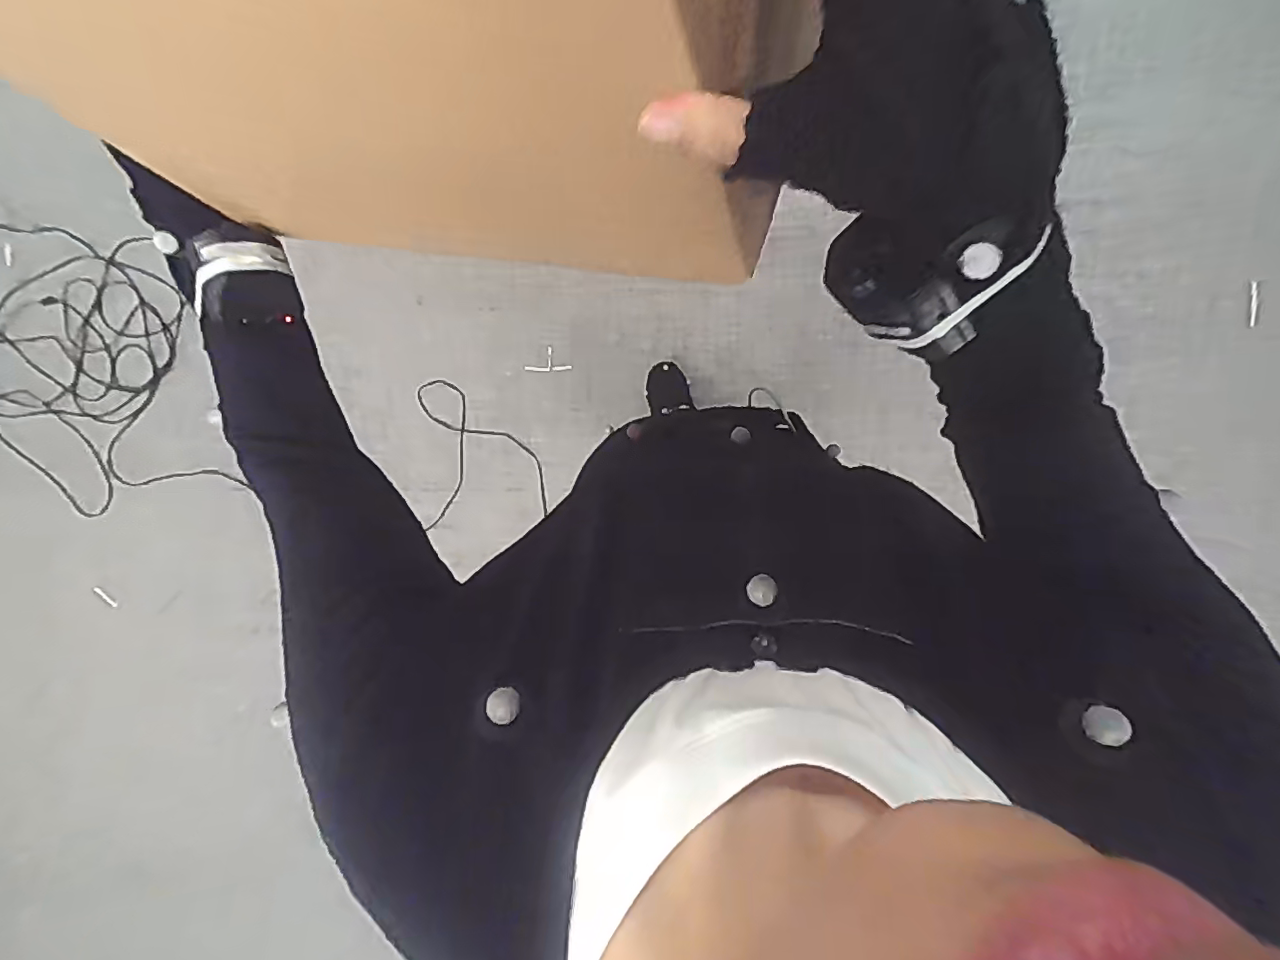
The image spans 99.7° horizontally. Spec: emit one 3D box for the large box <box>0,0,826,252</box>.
[{"bbox_3d":[-0.123,-0.333,0.236,0.408,0.320,0.320,15,85,21],"label":"large box"}]
